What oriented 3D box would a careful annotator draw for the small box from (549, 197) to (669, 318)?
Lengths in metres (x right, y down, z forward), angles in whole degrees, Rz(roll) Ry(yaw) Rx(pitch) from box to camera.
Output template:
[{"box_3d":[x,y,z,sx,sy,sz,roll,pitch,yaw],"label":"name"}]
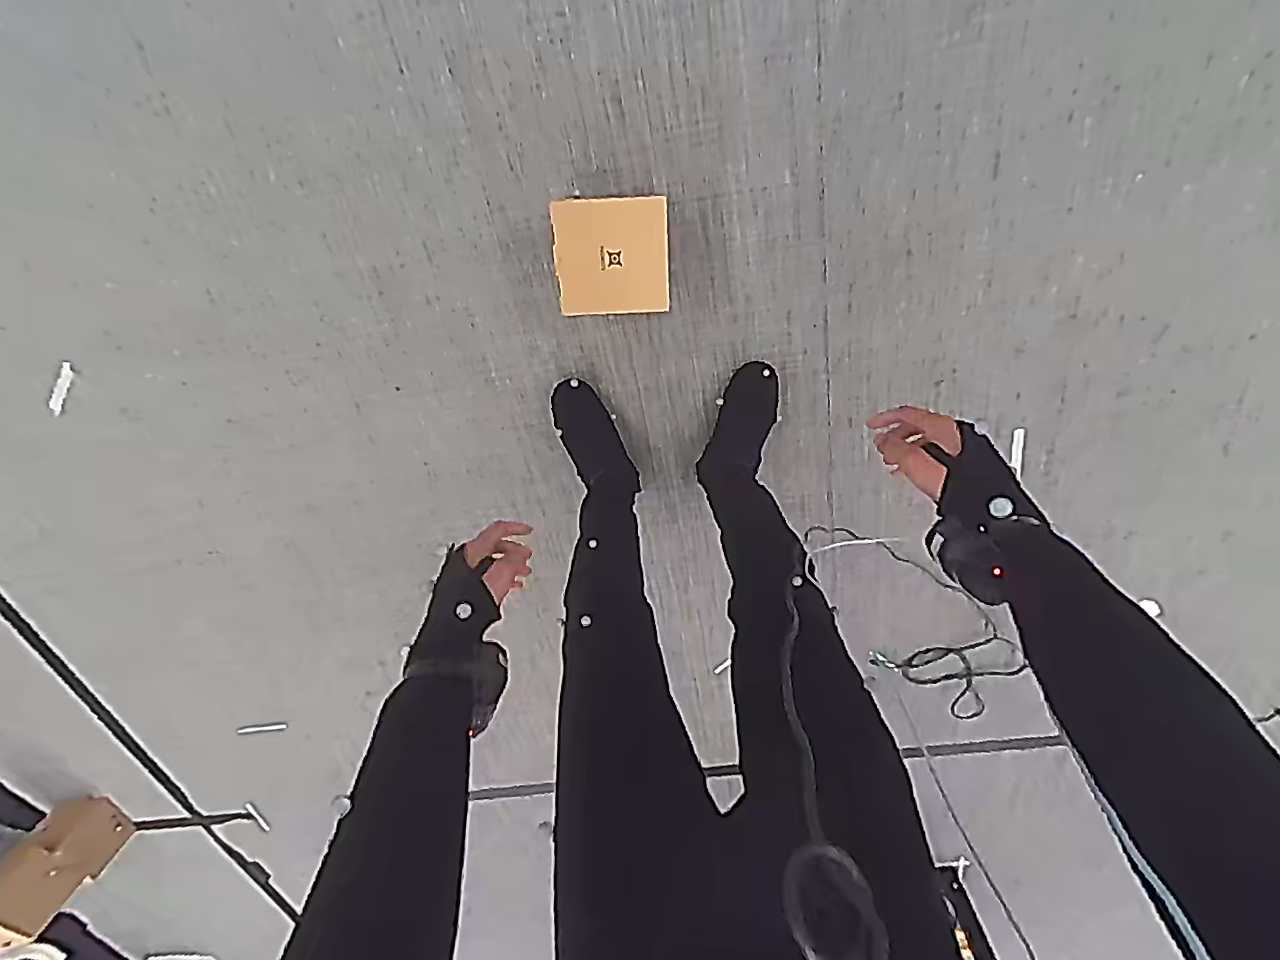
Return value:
[{"box_3d":[-0.043,-0.372,0.894,0.179,0.176,0.168,-2,118,3],"label":"small box"}]
